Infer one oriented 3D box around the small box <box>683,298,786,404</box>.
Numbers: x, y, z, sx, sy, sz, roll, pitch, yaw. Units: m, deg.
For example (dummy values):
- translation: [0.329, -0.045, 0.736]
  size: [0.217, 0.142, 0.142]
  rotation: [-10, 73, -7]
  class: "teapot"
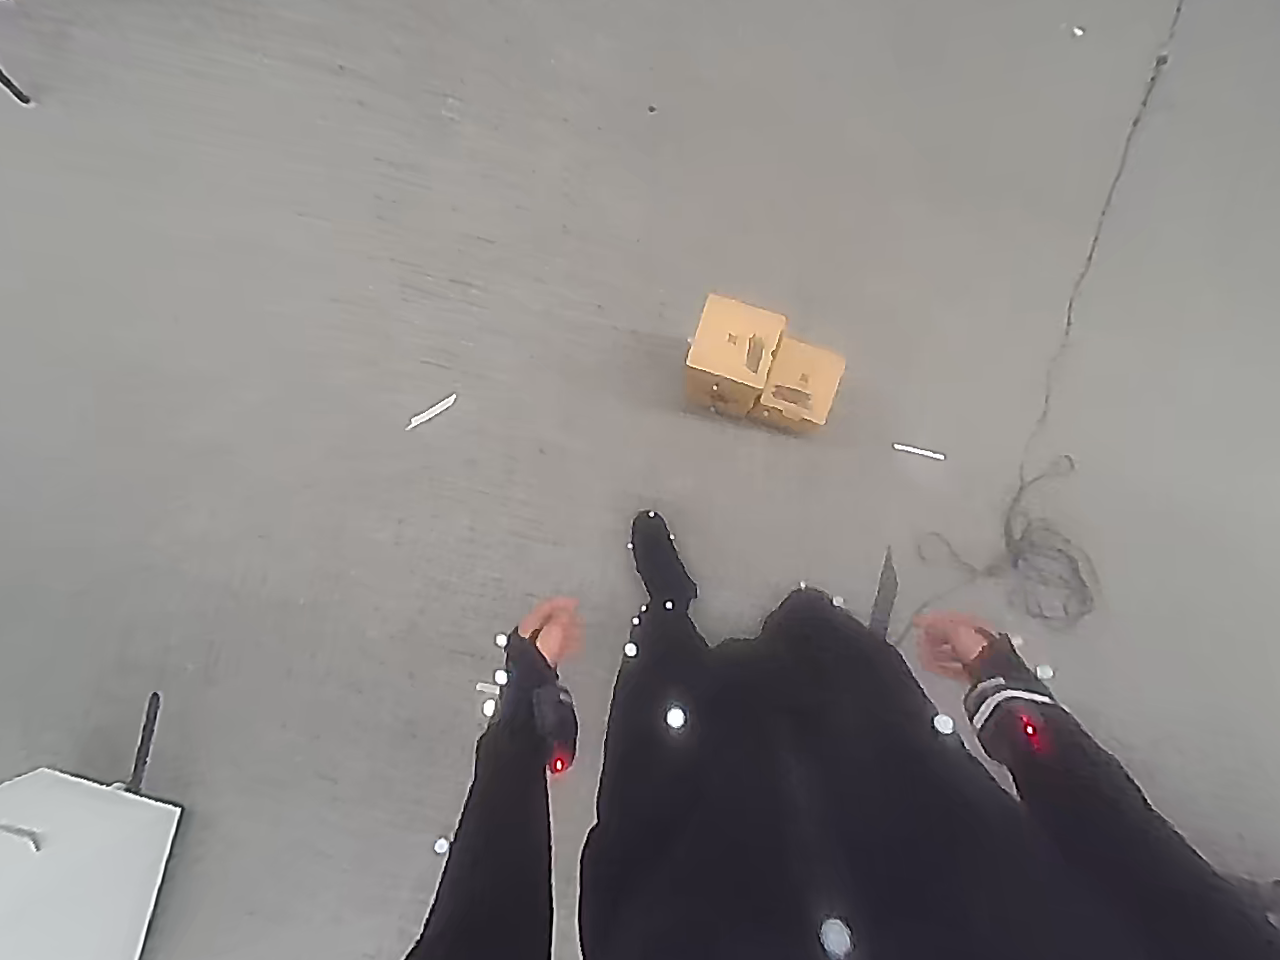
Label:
- translation: [0.204, -0.281, 1.223]
  size: [0.179, 0.176, 0.168]
  rotation: [18, 88, 3]
  class: "small box"
